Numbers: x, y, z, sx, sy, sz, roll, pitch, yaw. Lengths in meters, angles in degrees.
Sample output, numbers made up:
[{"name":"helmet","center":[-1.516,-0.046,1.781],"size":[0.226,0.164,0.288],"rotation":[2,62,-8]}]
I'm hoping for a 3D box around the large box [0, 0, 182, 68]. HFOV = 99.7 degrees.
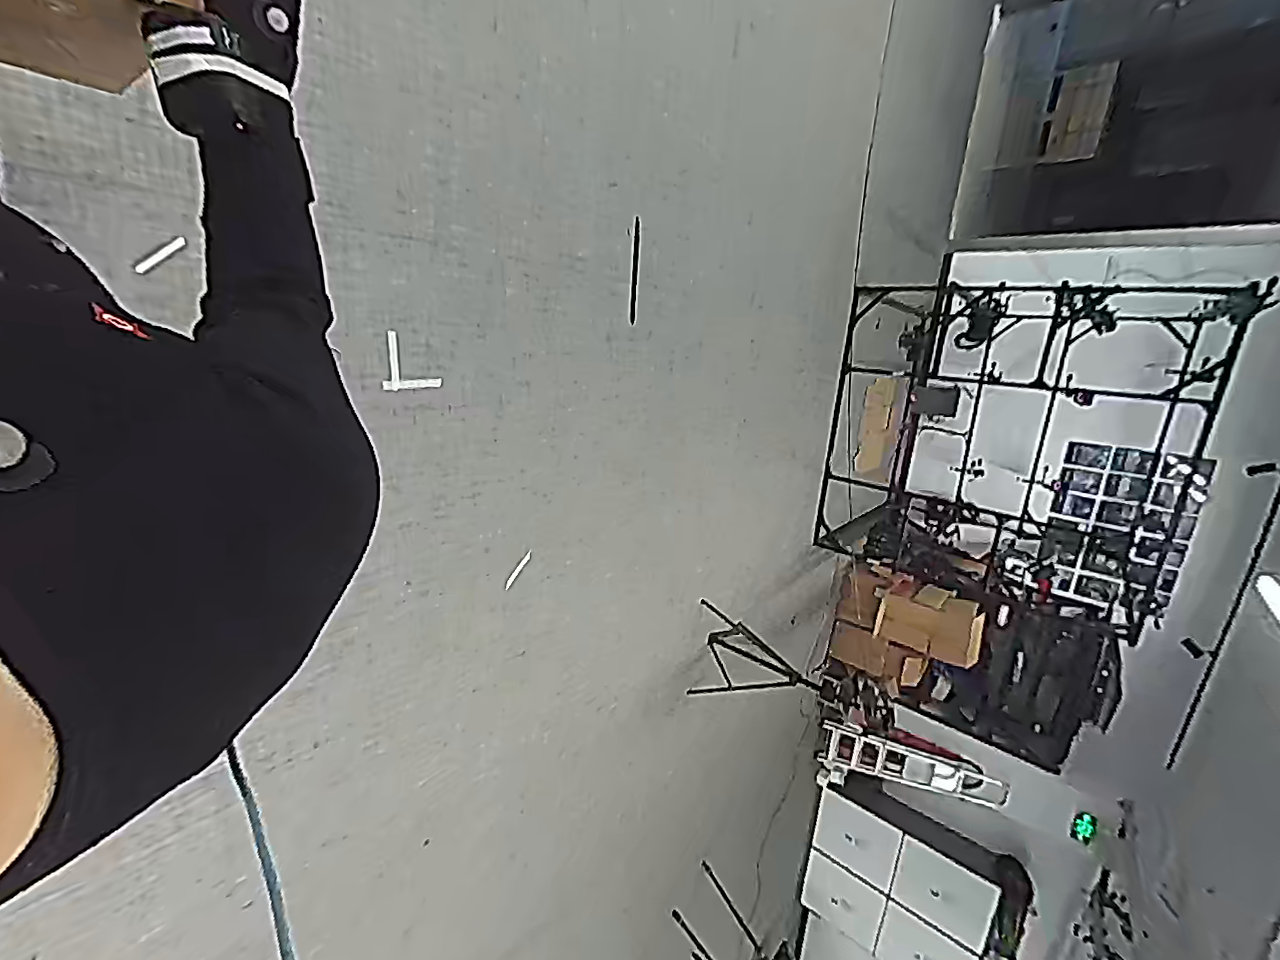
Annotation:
[{"name":"large box","center":[-0.532,-0.479,0.265],"size":[0.408,0.320,0.320],"rotation":[-15,118,-49]}]
